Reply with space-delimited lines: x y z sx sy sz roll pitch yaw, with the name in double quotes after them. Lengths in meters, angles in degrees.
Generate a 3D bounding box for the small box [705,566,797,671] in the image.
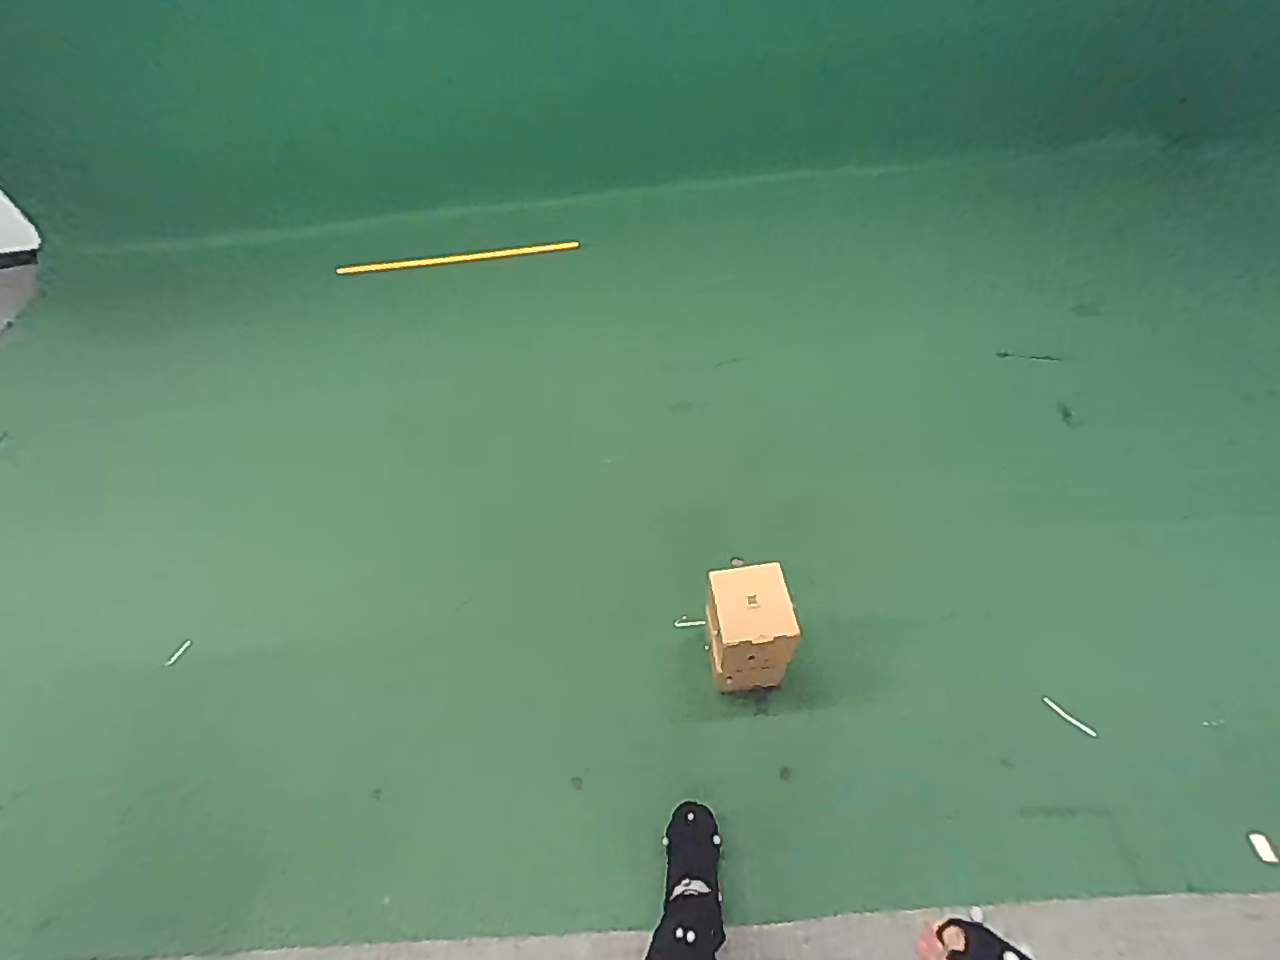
0.247 0.323 1.253 0.168 0.176 0.179 -8 53 -1 "small box"
